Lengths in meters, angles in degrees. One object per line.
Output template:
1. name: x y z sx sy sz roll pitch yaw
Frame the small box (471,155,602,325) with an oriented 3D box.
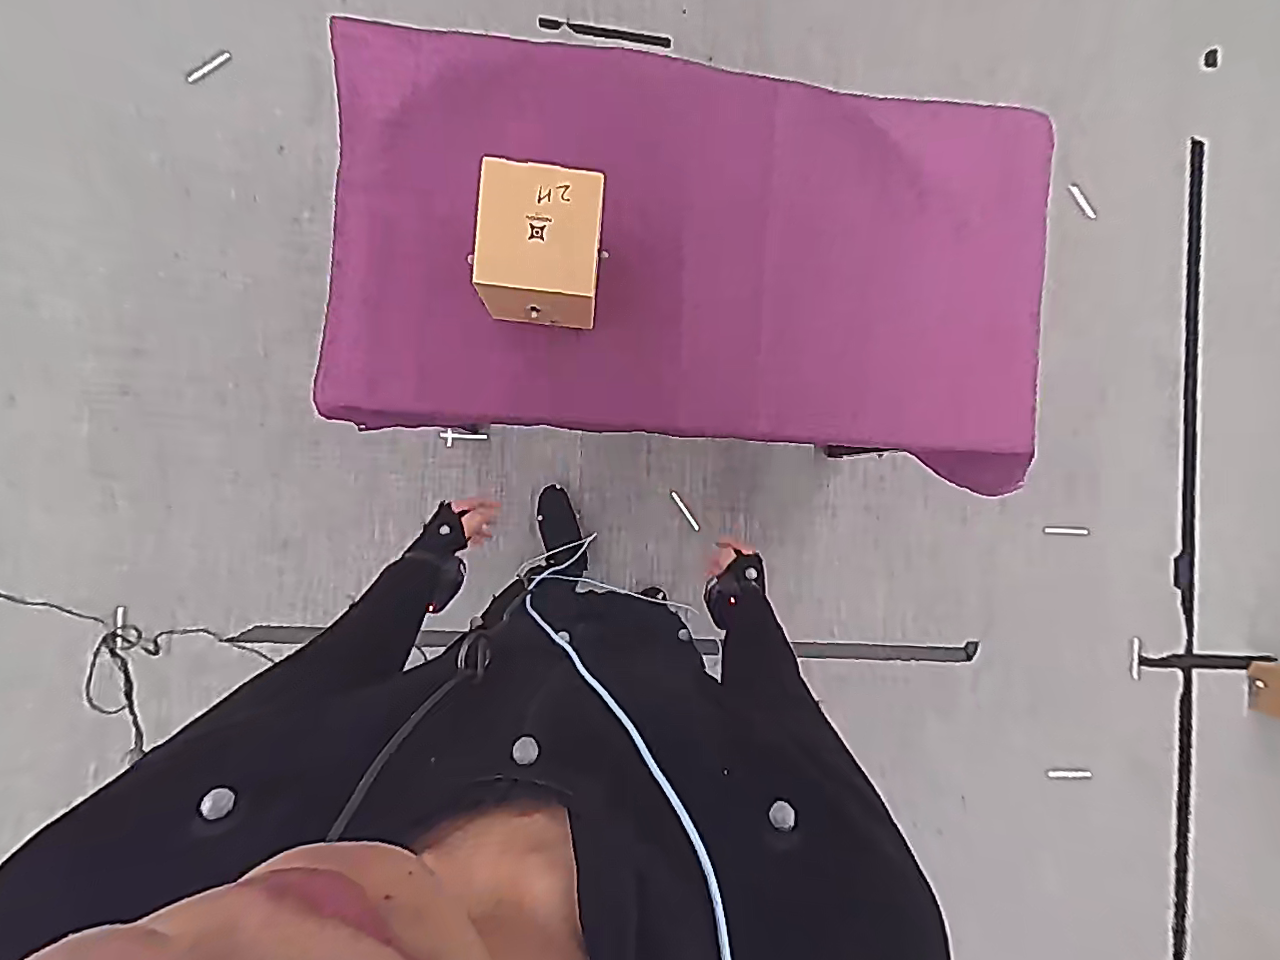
1. small box: -0.148 -0.347 0.818 0.168 0.176 0.179 5 89 -6
